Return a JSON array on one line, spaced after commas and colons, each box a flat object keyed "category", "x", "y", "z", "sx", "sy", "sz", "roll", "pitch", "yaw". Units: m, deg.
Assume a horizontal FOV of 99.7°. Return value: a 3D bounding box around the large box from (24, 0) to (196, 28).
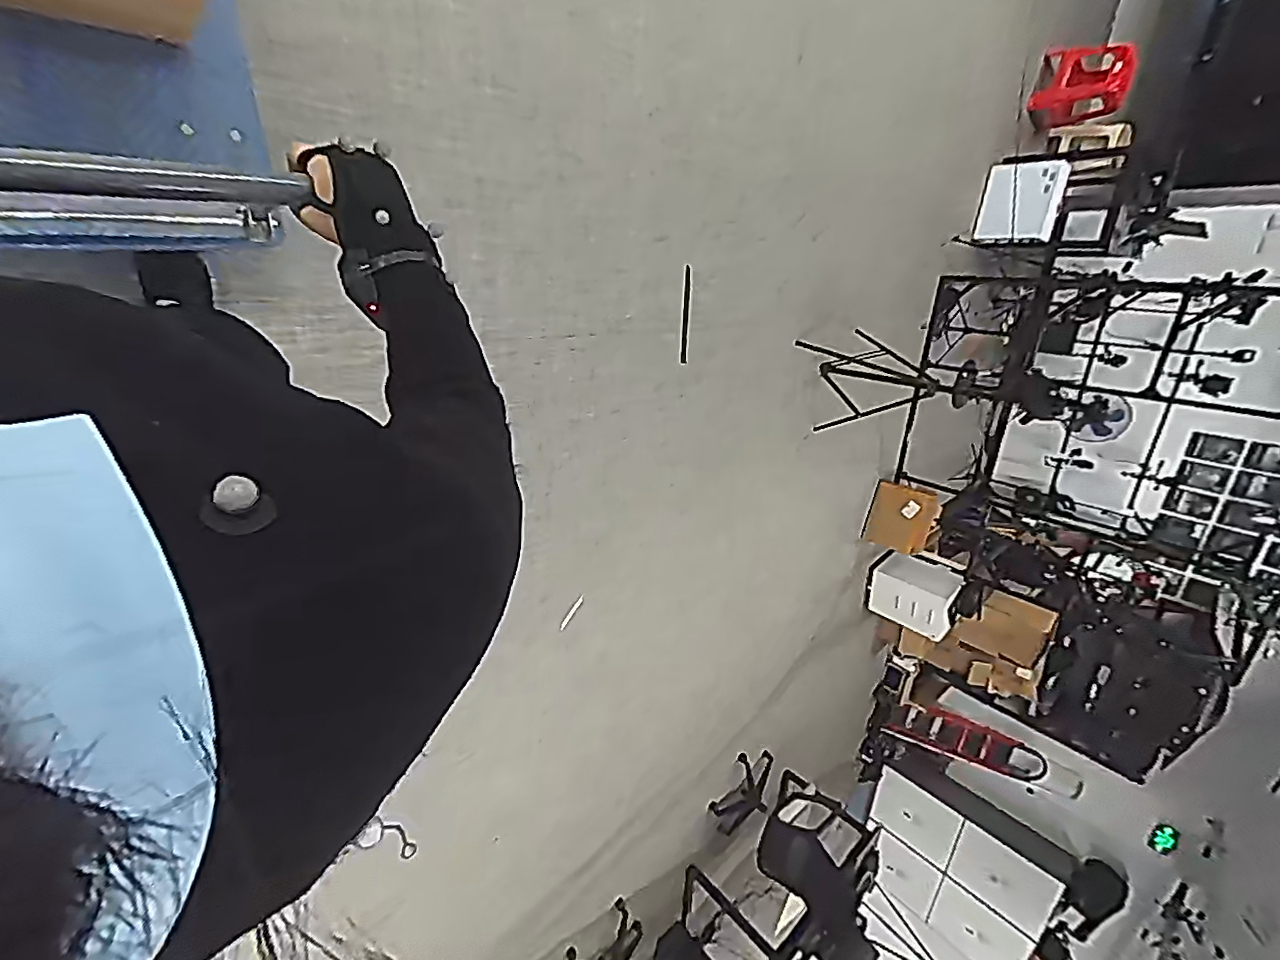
[{"category": "large box", "x": -0.798, "y": -0.780, "z": 0.611, "sx": 0.408, "sy": 0.320, "sz": 0.320, "roll": -19, "pitch": 120, "yaw": -38}]
